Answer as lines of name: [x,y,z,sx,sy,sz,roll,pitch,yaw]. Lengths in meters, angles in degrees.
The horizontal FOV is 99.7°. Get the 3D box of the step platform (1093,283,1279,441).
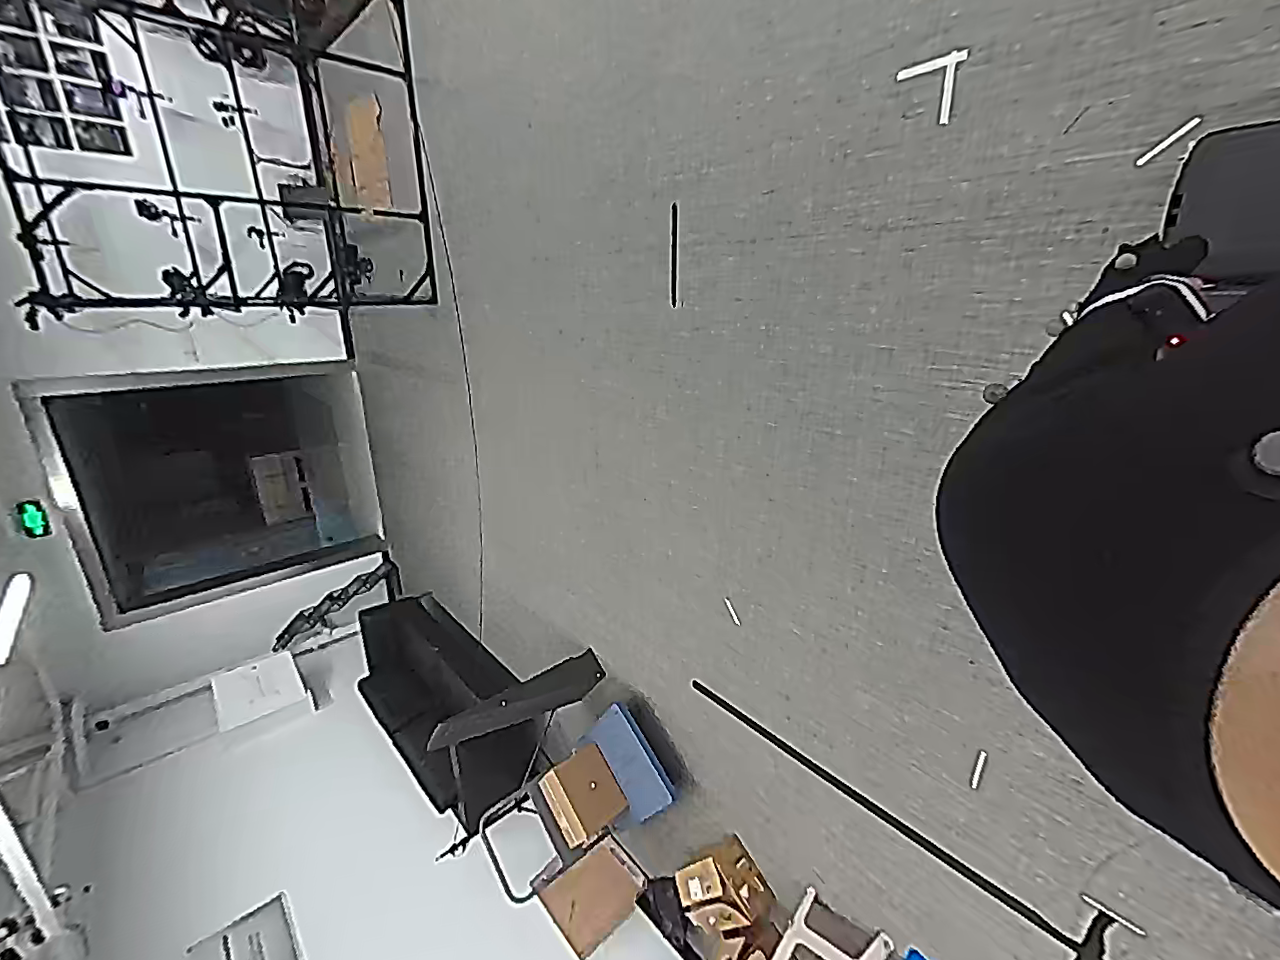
step platform: [1.268,-0.209,0.975,0.684,0.204,0.286,19,117,46]
